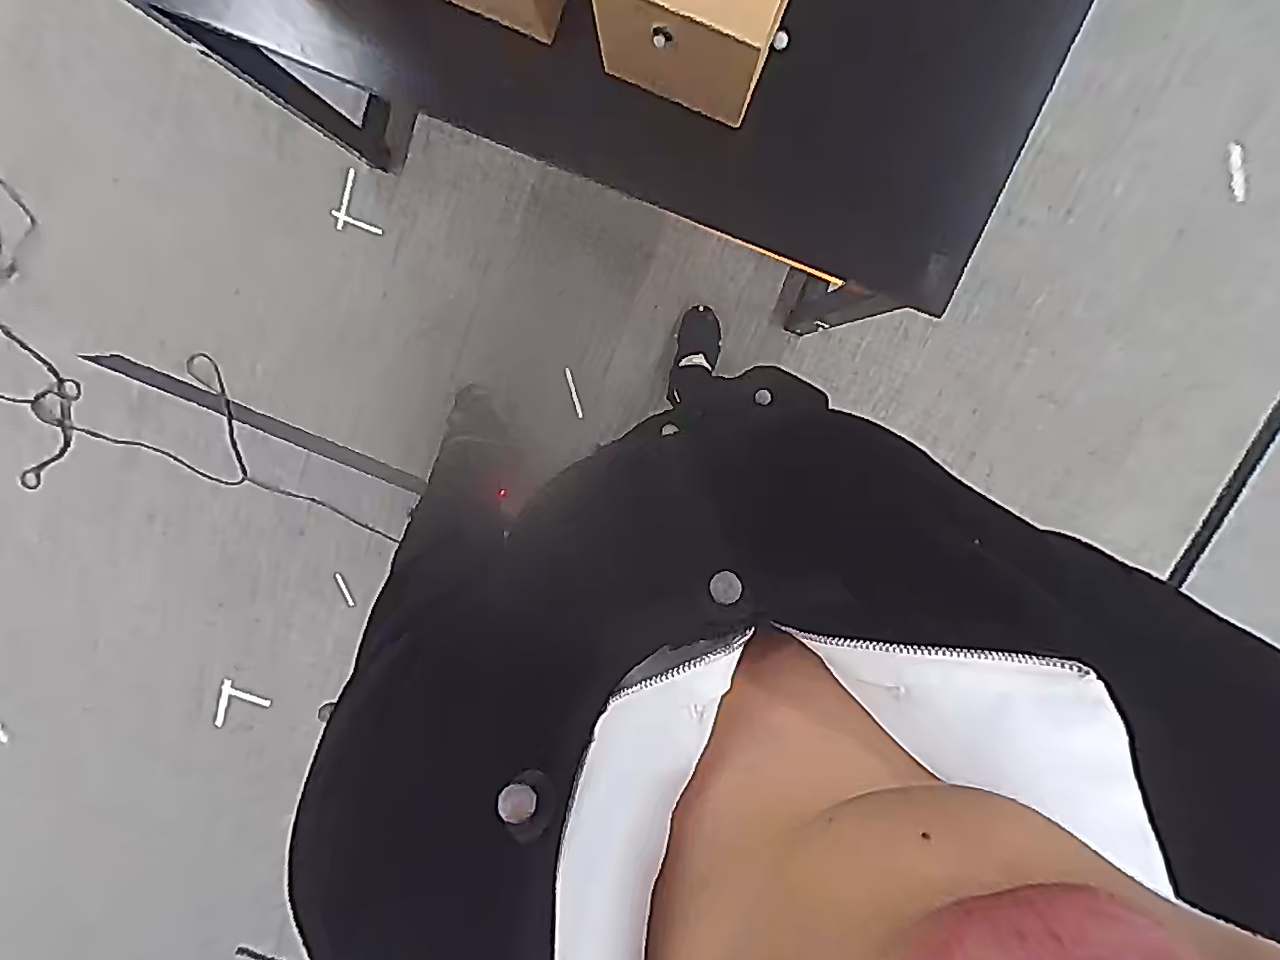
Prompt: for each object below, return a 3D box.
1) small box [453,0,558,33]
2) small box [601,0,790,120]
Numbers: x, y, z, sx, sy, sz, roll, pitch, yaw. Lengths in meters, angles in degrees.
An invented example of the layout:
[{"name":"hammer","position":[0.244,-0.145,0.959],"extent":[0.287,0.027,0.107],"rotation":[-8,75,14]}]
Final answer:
[{"name":"small box","position":[-0.158,-0.604,0.541],"extent":[0.179,0.176,0.168],"rotation":[22,101,-2]},{"name":"small box","position":[0.064,-0.511,0.550],"extent":[0.179,0.176,0.168],"rotation":[22,101,-3]}]
